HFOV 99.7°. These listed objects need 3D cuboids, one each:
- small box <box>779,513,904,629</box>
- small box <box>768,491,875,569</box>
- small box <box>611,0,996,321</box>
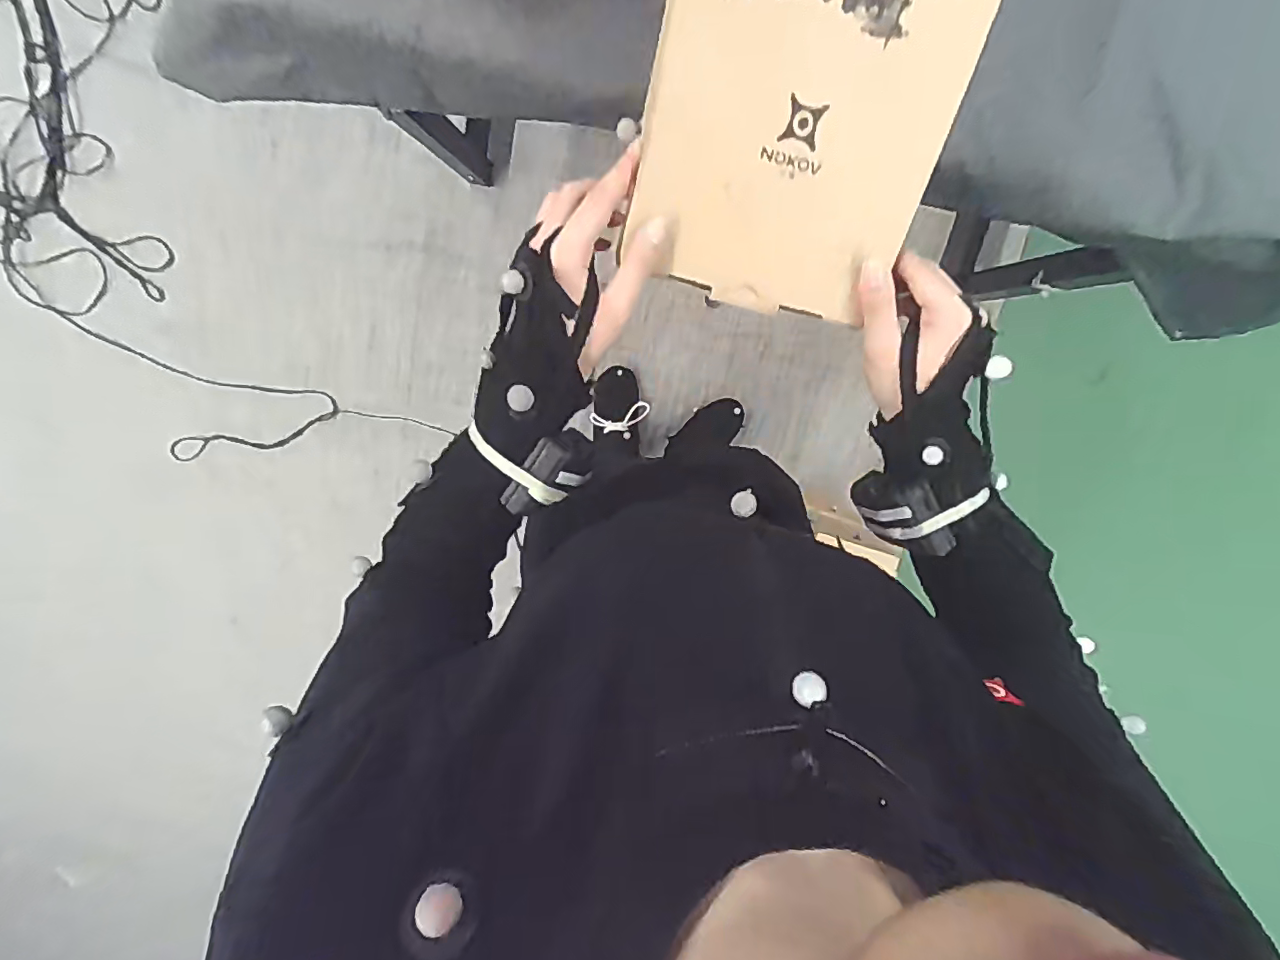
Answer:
[{"bbox_3d":[0.418,0.185,1.154,0.179,0.176,0.168,18,103,-1],"label":"small box"},{"bbox_3d":[0.430,0.140,1.312,0.179,0.176,0.168,18,103,0],"label":"small box"},{"bbox_3d":[0.080,-0.228,0.368,0.168,0.176,0.179,11,115,-8],"label":"small box"}]
